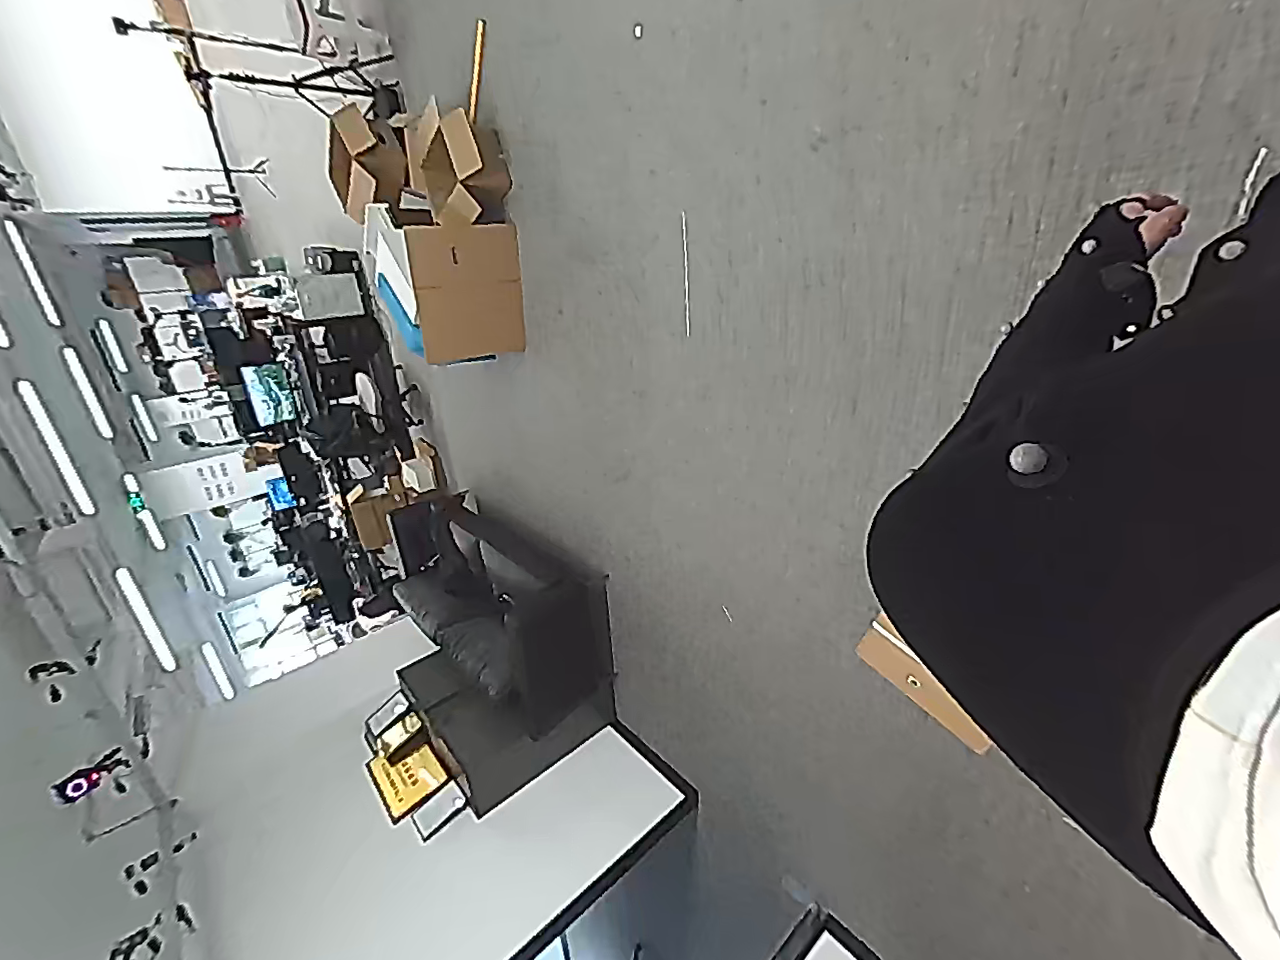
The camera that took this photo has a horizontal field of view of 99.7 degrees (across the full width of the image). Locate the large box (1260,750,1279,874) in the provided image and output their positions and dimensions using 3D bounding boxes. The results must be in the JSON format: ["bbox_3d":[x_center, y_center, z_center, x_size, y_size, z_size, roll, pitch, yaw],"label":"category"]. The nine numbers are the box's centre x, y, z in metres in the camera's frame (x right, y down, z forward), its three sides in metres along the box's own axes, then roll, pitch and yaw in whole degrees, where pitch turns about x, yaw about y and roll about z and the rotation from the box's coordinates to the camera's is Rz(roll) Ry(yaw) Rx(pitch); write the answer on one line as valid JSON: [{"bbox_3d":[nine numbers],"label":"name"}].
[{"bbox_3d":[1.526,0.753,1.015,0.408,0.320,0.320,-27,87,53],"label":"large box"}]
